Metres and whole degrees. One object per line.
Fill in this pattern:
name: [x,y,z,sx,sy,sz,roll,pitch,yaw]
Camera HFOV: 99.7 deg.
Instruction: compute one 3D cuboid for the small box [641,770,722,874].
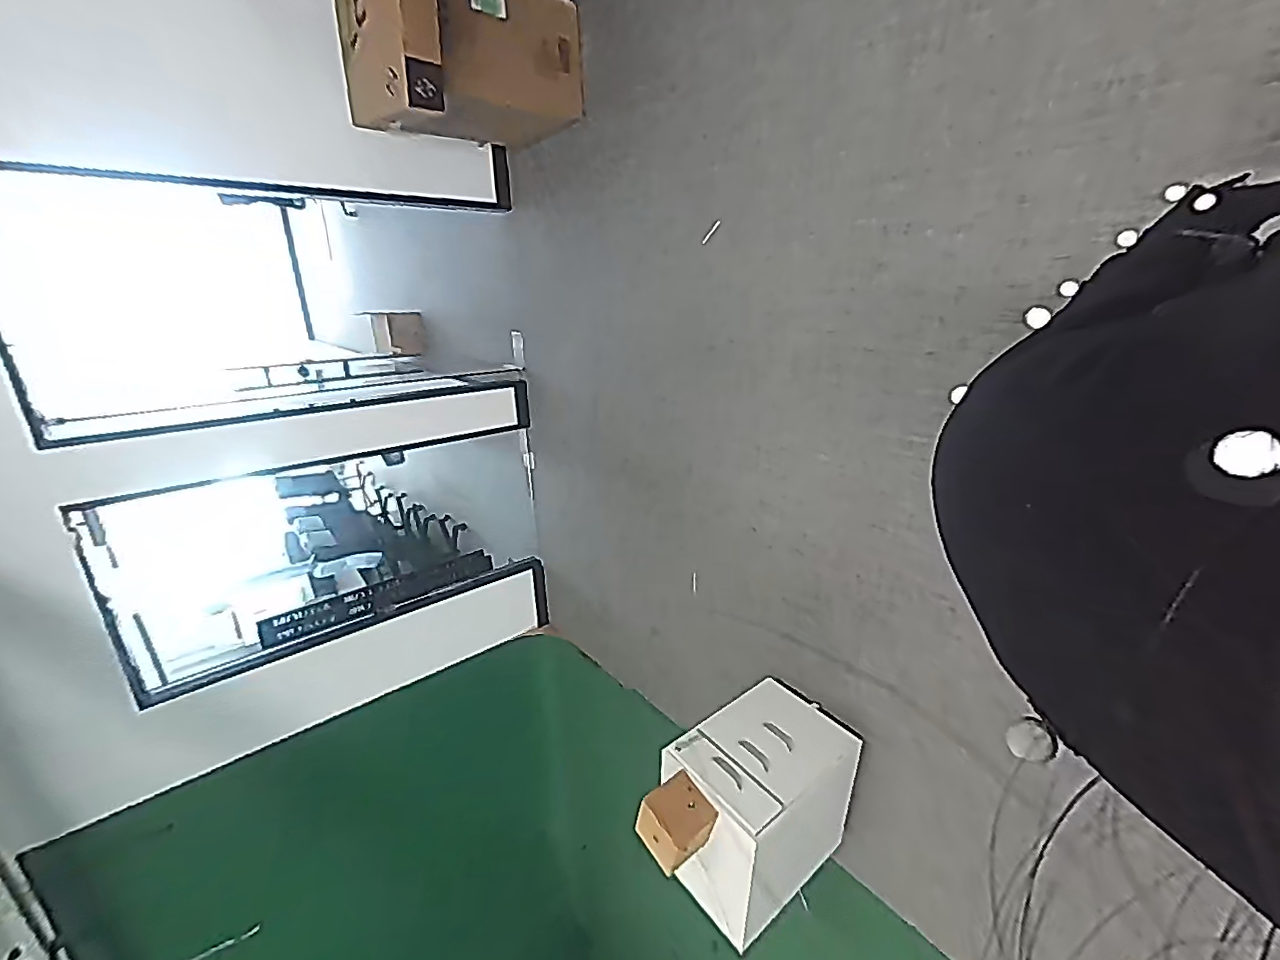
small box: [0.126,1.031,1.638,0.168,0.176,0.179,38,131,39]
